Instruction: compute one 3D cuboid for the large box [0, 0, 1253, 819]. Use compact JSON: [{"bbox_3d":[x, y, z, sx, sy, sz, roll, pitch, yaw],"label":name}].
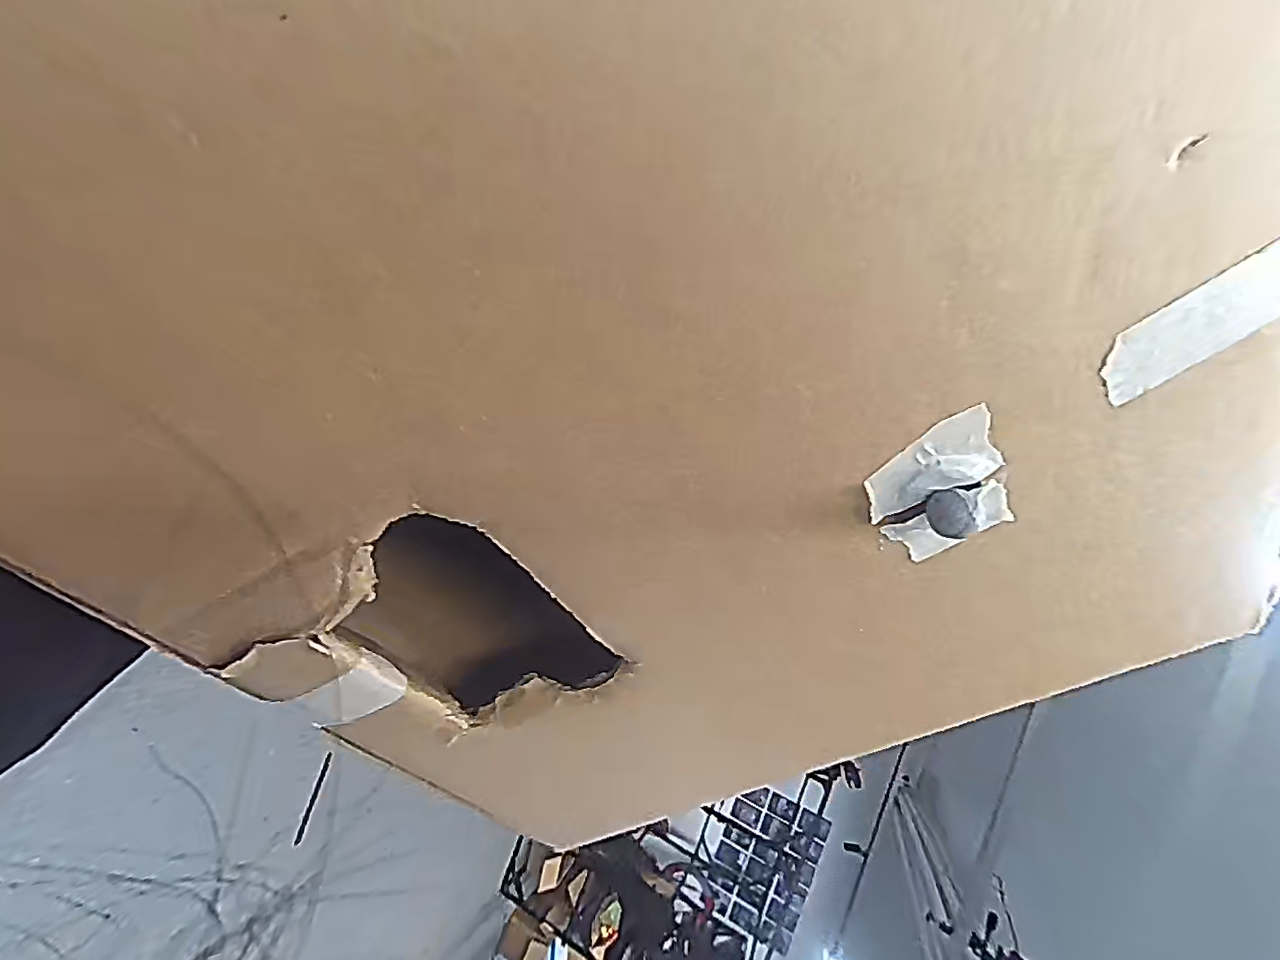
[{"bbox_3d":[-0.003,-0.105,0.319,0.320,0.320,0.408,55,17,-32],"label":"large box"}]
